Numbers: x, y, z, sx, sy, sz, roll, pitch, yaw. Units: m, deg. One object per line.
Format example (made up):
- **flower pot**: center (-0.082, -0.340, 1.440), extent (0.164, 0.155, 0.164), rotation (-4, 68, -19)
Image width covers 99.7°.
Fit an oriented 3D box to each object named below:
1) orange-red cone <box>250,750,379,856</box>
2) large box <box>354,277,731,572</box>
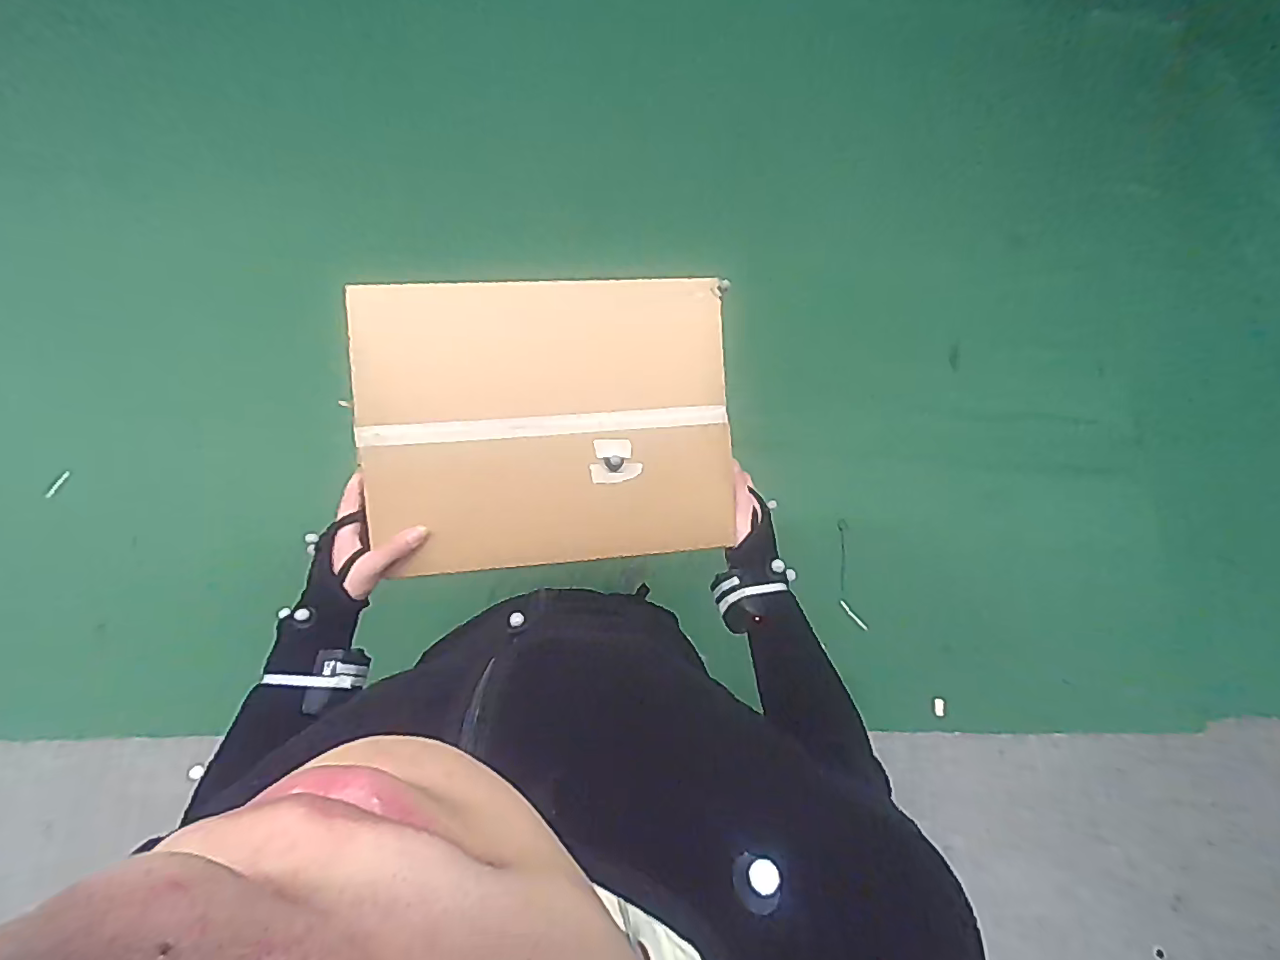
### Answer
- **orange-red cone**: center (-0.806, 0.800, 1.285), extent (0.199, 0.360, 0.198), rotation (10, 75, -3)
- **large box**: center (-0.122, -0.074, 0.756), extent (0.408, 0.320, 0.320), rotation (-4, 94, -9)
